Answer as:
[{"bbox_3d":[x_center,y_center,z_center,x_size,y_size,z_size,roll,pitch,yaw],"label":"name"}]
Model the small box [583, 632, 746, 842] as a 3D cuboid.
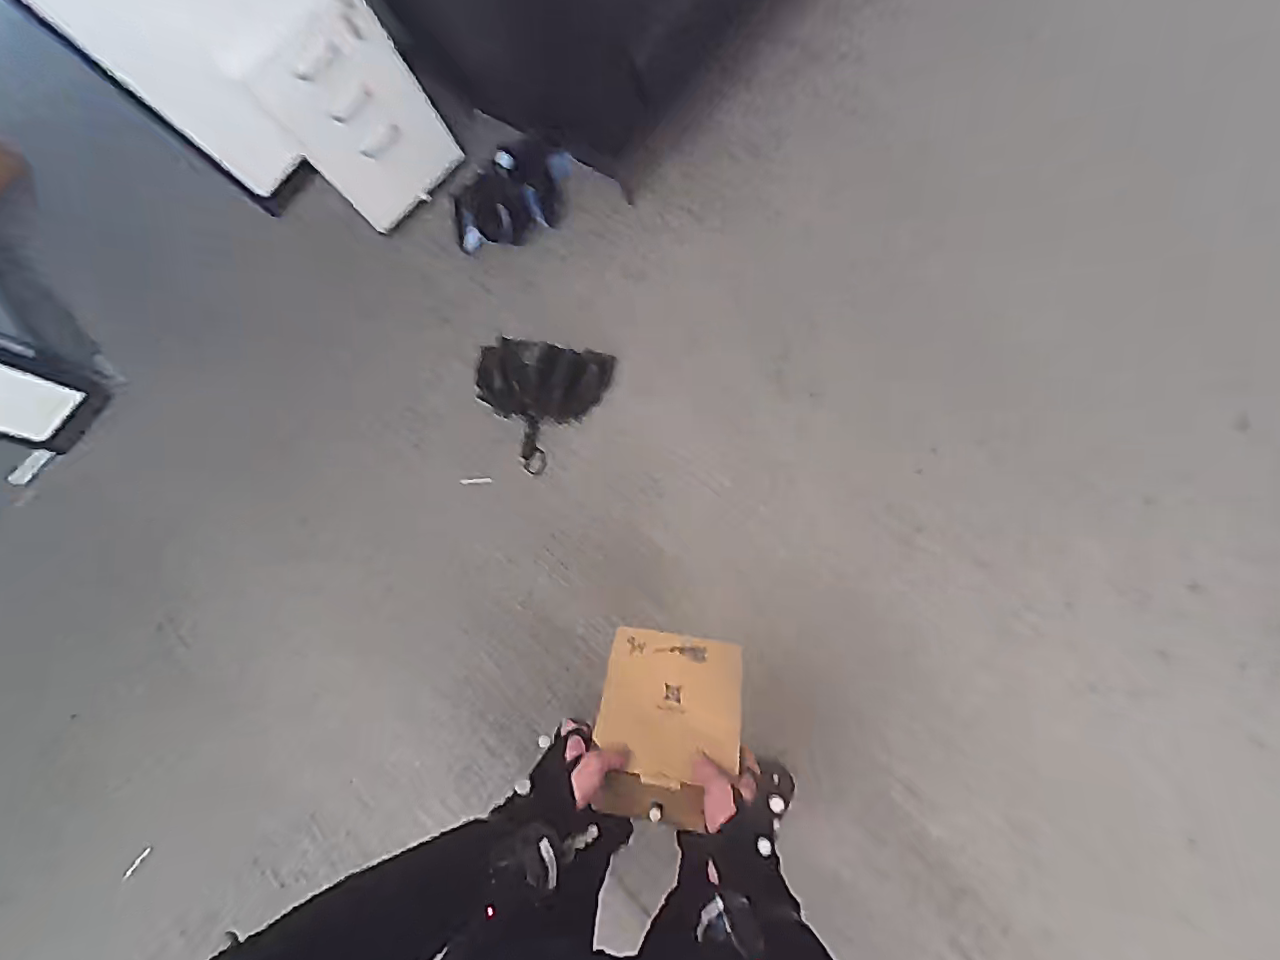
[{"bbox_3d":[0.035,0.319,0.669,0.168,0.176,0.179,7,44,7],"label":"small box"}]
